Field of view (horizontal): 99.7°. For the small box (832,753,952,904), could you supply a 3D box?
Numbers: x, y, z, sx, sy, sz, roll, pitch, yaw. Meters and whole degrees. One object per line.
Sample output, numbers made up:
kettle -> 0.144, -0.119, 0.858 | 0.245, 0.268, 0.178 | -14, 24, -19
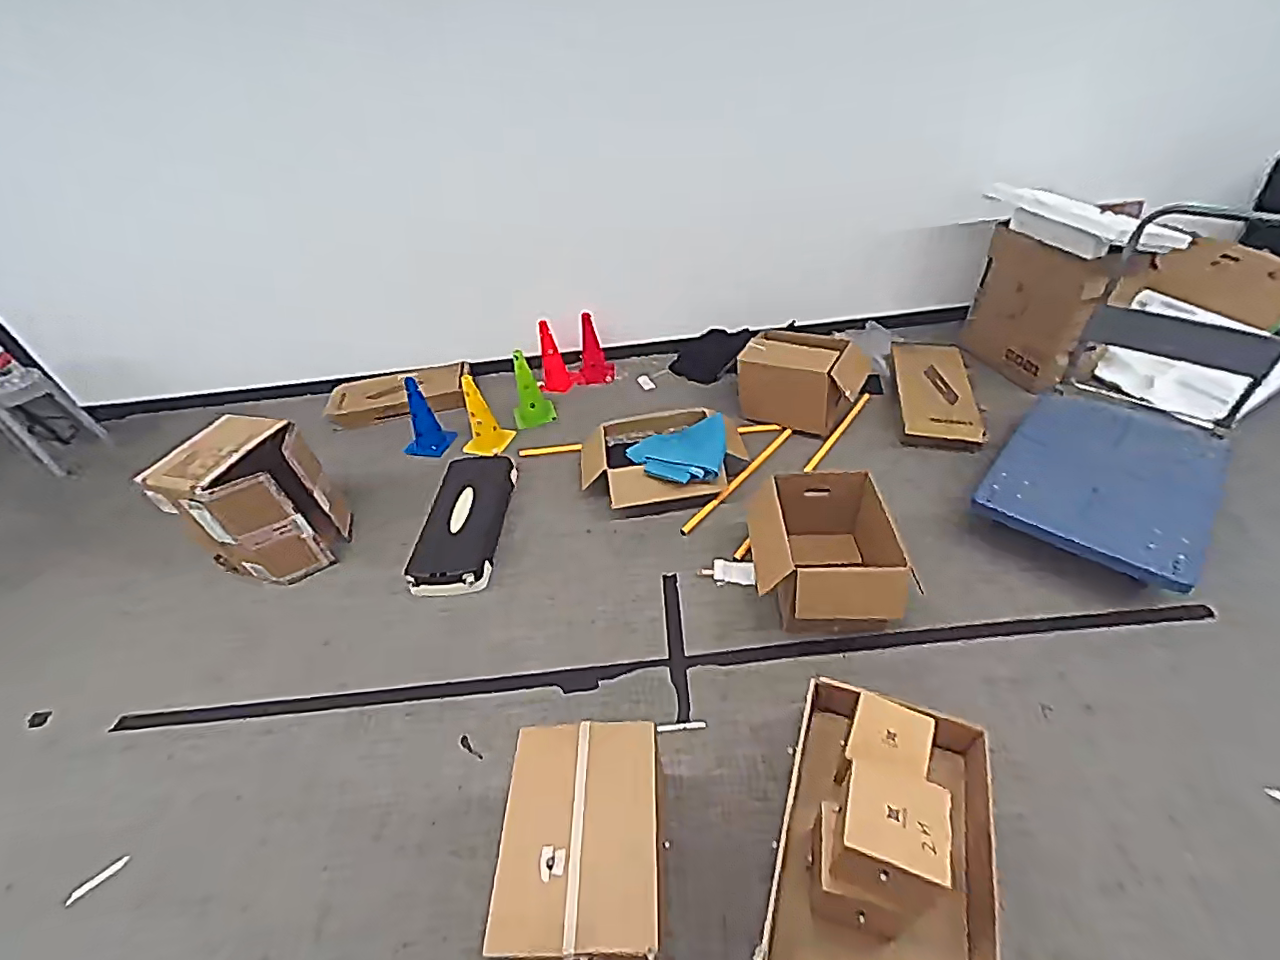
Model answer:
small box -> 0.473, 0.661, 1.026 | 0.179, 0.176, 0.168 | 13, 43, 20

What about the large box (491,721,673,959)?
large box -> -0.100, 0.794, 1.175 | 0.320, 0.320, 0.408 | -5, 43, 4
